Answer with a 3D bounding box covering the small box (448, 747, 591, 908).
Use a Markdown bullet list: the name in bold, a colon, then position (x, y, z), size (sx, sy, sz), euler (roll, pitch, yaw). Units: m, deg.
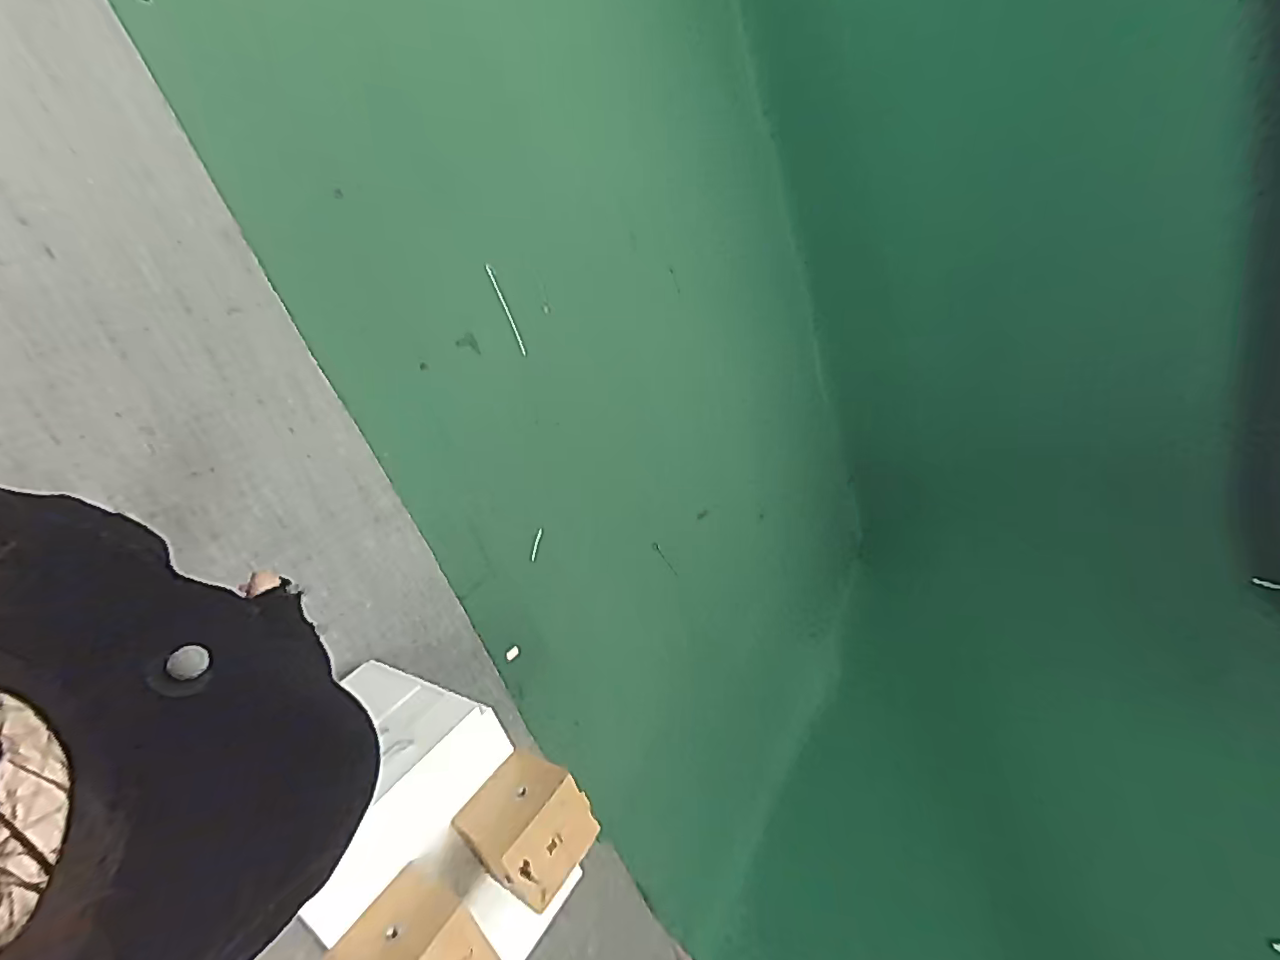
- **small box**: position (-0.231, 0.654, 1.043), size (0.179, 0.176, 0.168), euler (-40, 118, -42)
